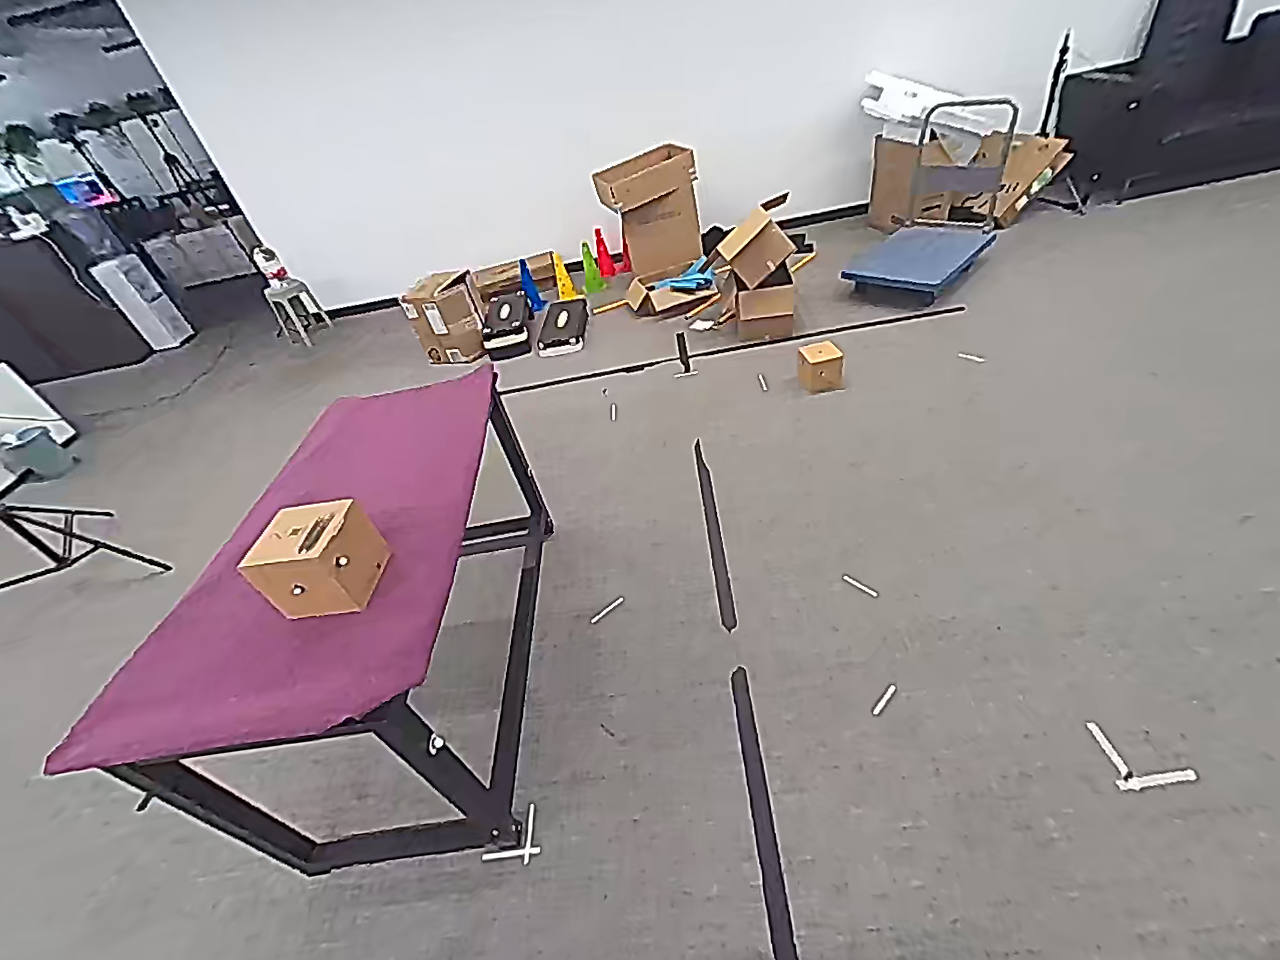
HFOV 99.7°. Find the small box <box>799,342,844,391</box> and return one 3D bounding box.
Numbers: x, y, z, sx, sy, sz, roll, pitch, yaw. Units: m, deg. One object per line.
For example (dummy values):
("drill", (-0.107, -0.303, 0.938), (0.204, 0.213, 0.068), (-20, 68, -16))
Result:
("small box", (0.907, -0.562, 2.711), (0.168, 0.176, 0.179), (-14, 39, 0))
